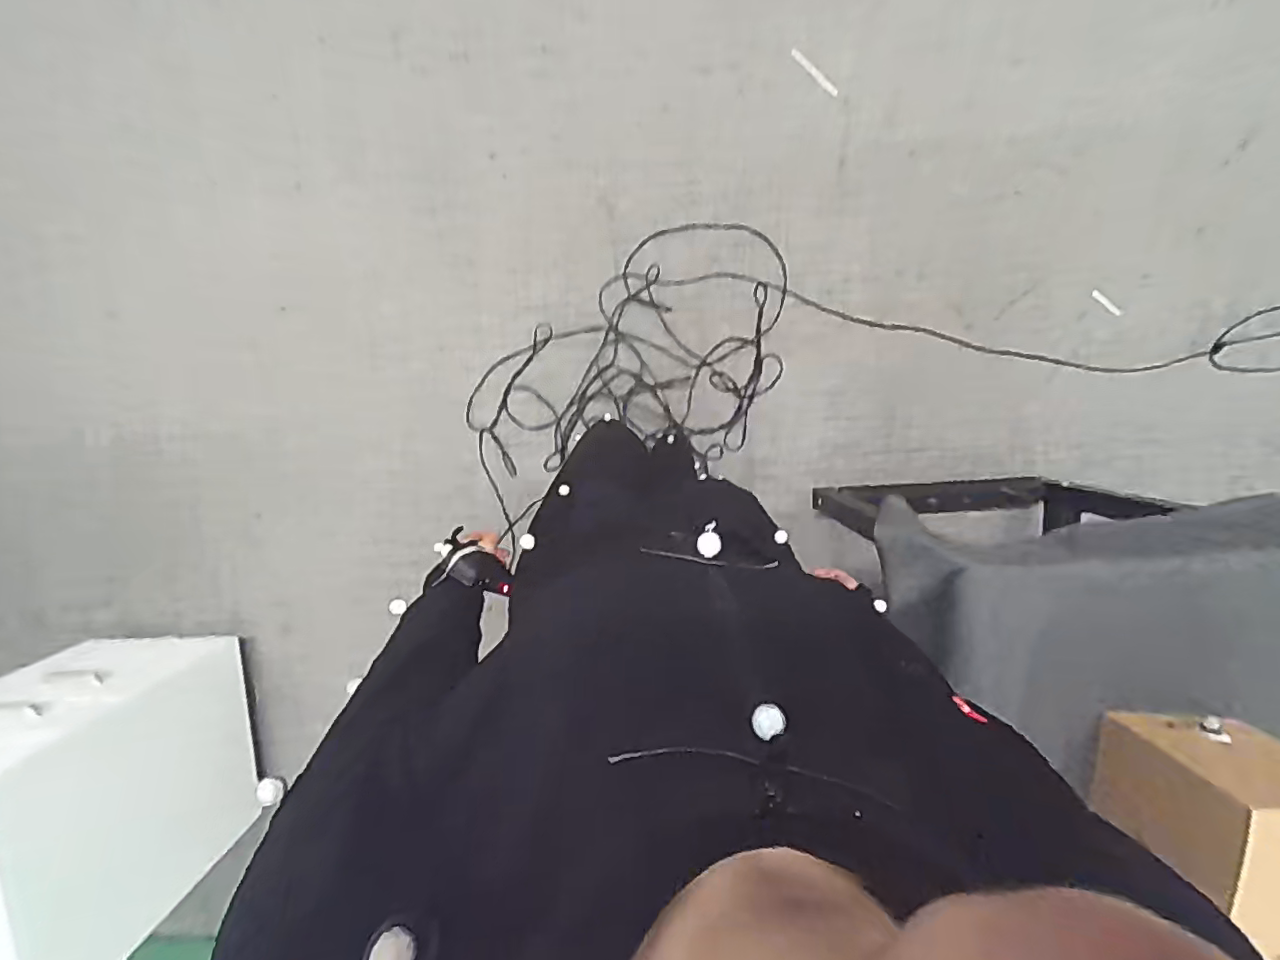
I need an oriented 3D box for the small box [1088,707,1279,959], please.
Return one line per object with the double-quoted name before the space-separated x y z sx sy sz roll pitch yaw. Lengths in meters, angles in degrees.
"small box" 0.651 0.380 0.601 0.168 0.176 0.179 2 97 -2
